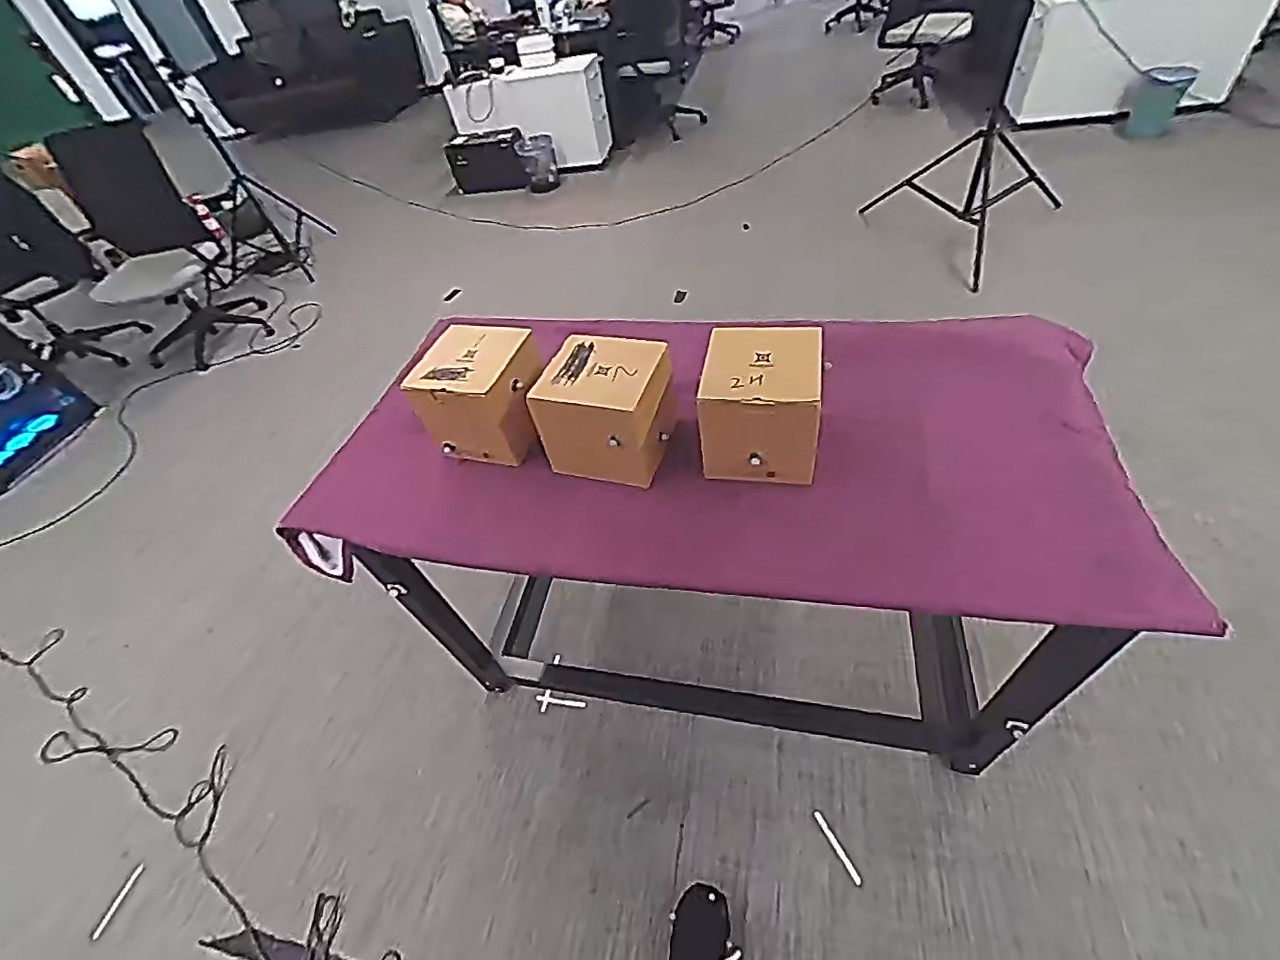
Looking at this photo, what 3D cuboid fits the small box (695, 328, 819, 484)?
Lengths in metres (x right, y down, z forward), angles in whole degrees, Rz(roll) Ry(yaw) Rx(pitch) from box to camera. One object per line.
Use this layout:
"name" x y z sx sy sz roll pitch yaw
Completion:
"small box" 0.184 -0.118 0.843 0.168 0.176 0.179 4 50 15

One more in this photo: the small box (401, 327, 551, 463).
"small box" -0.278 -0.150 0.964 0.168 0.176 0.179 8 51 17
